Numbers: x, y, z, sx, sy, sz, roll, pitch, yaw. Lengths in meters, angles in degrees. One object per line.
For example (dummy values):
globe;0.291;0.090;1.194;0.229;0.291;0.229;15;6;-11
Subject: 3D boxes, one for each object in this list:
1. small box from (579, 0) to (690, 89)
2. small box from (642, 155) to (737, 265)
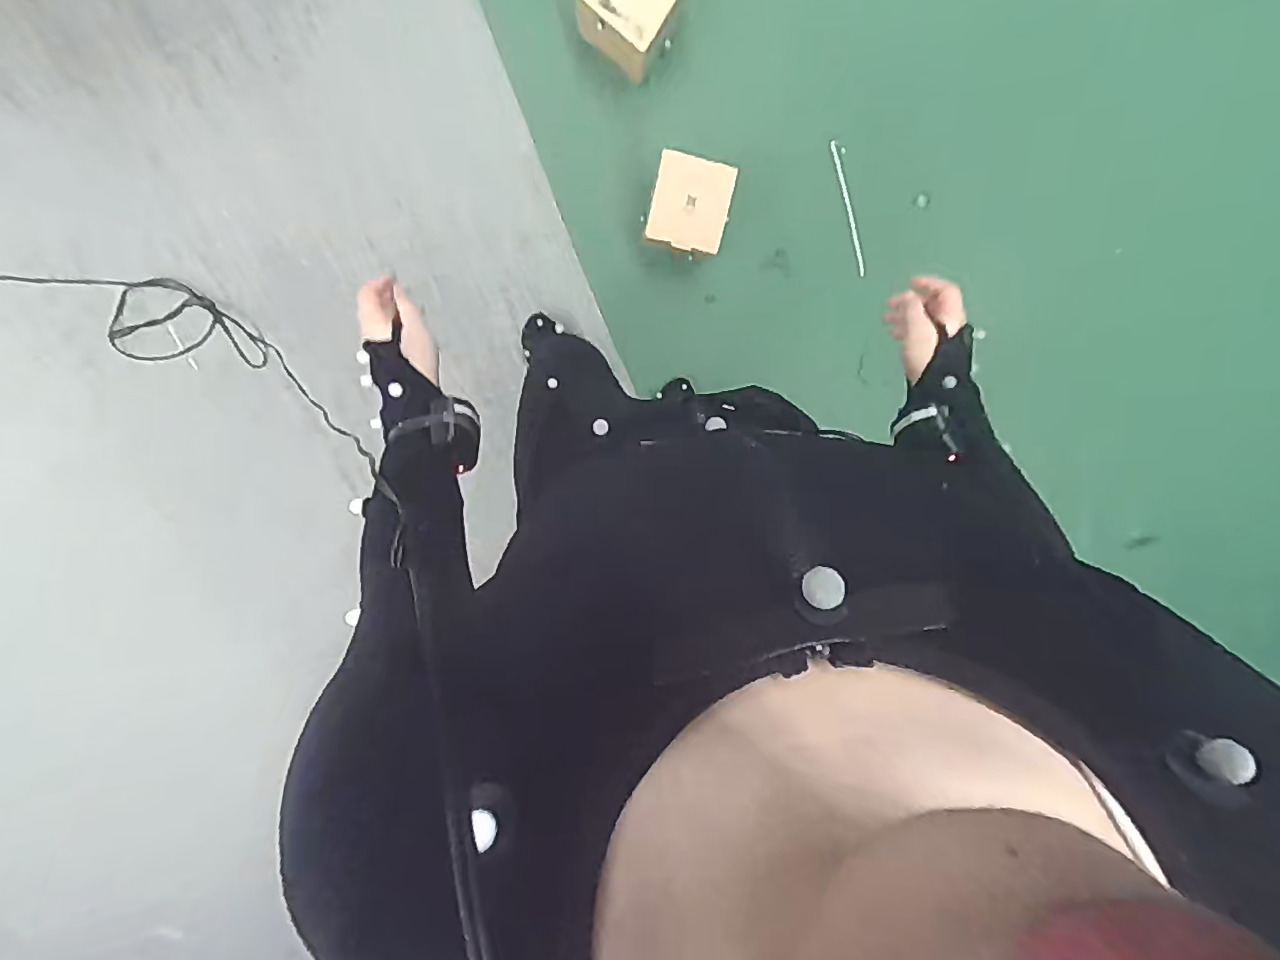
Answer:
small box;-0.011;-0.958;1.102;0.168;0.176;0.179;34;102;-13
small box;0.102;-0.598;1.223;0.168;0.176;0.179;11;106;-8
